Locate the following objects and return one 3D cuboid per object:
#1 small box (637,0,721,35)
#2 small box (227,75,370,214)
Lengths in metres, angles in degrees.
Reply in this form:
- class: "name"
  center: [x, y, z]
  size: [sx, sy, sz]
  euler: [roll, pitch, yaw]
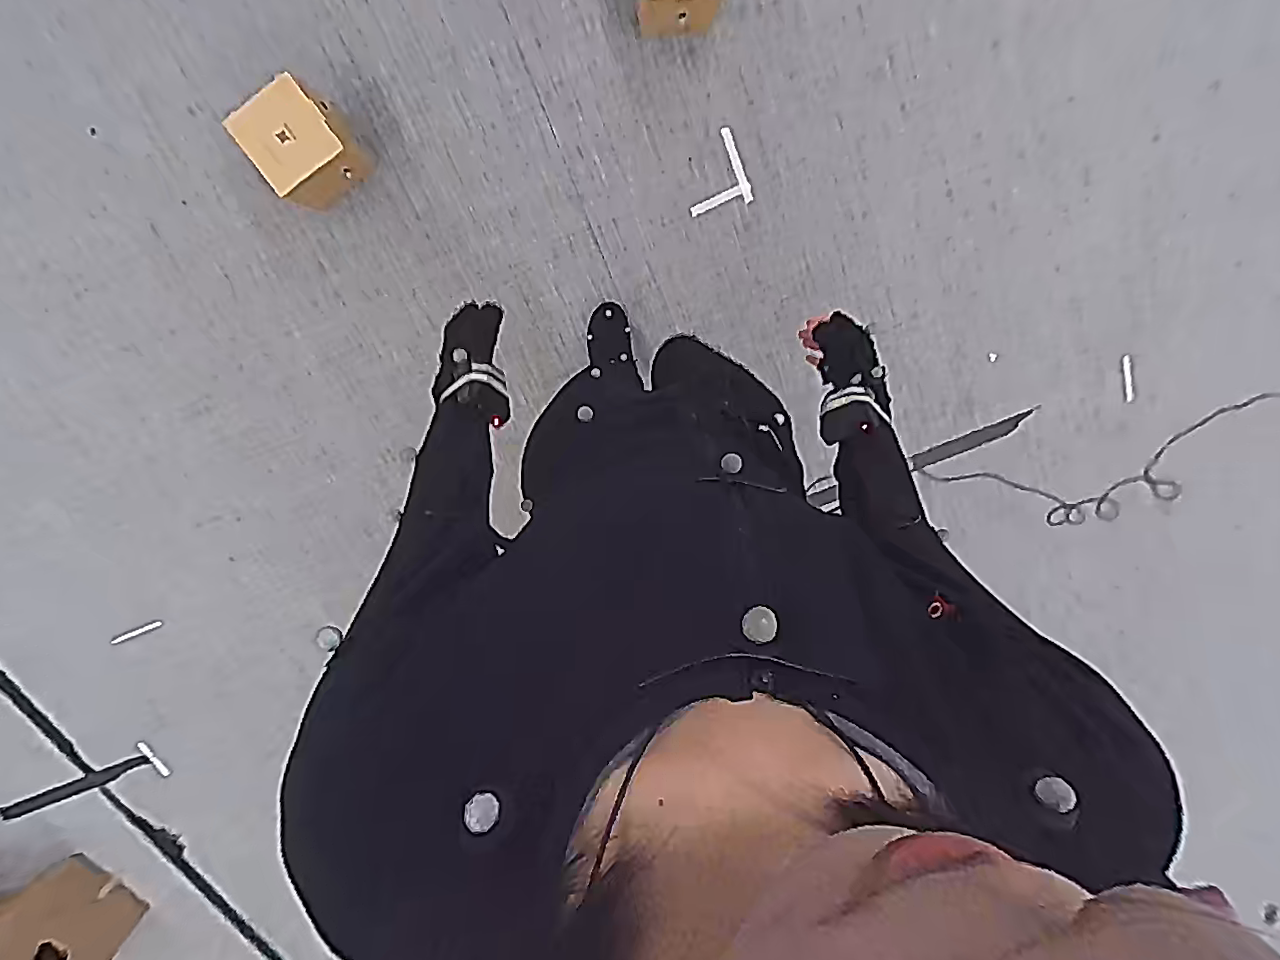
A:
- class: "small box"
  center: [0.081, -1.067, 1.126]
  size: [0.168, 0.176, 0.179]
  euler: [-9, 108, -3]
- class: "small box"
  center: [-0.718, -0.711, 1.168]
  size: [0.179, 0.176, 0.168]
  euler: [-34, 105, 6]
